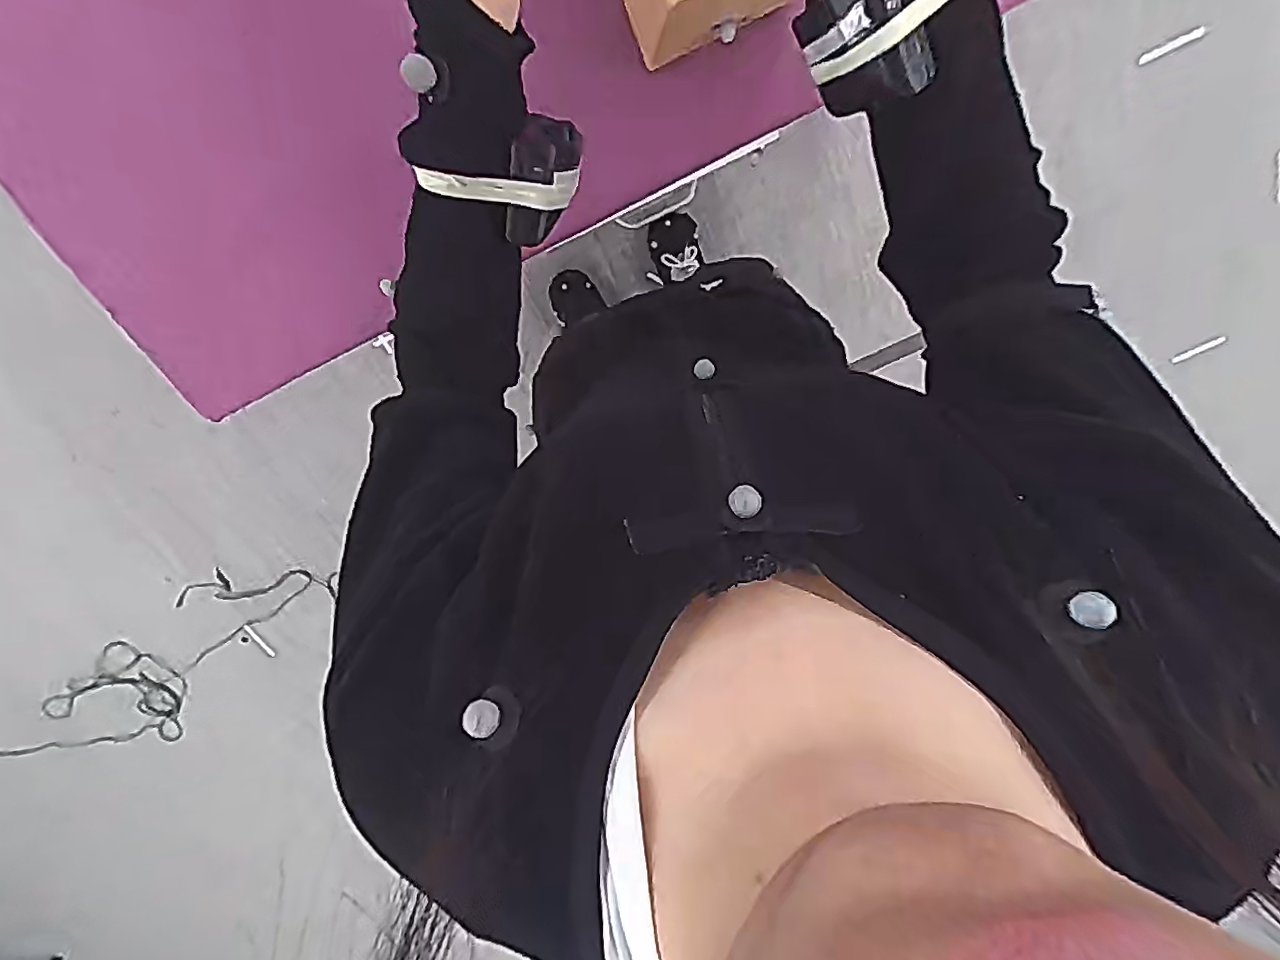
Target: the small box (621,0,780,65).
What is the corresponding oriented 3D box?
[{"bbox_3d":[0.052,-0.515,0.471,0.168,0.176,0.179,-23,113,5],"label":"small box"}]
